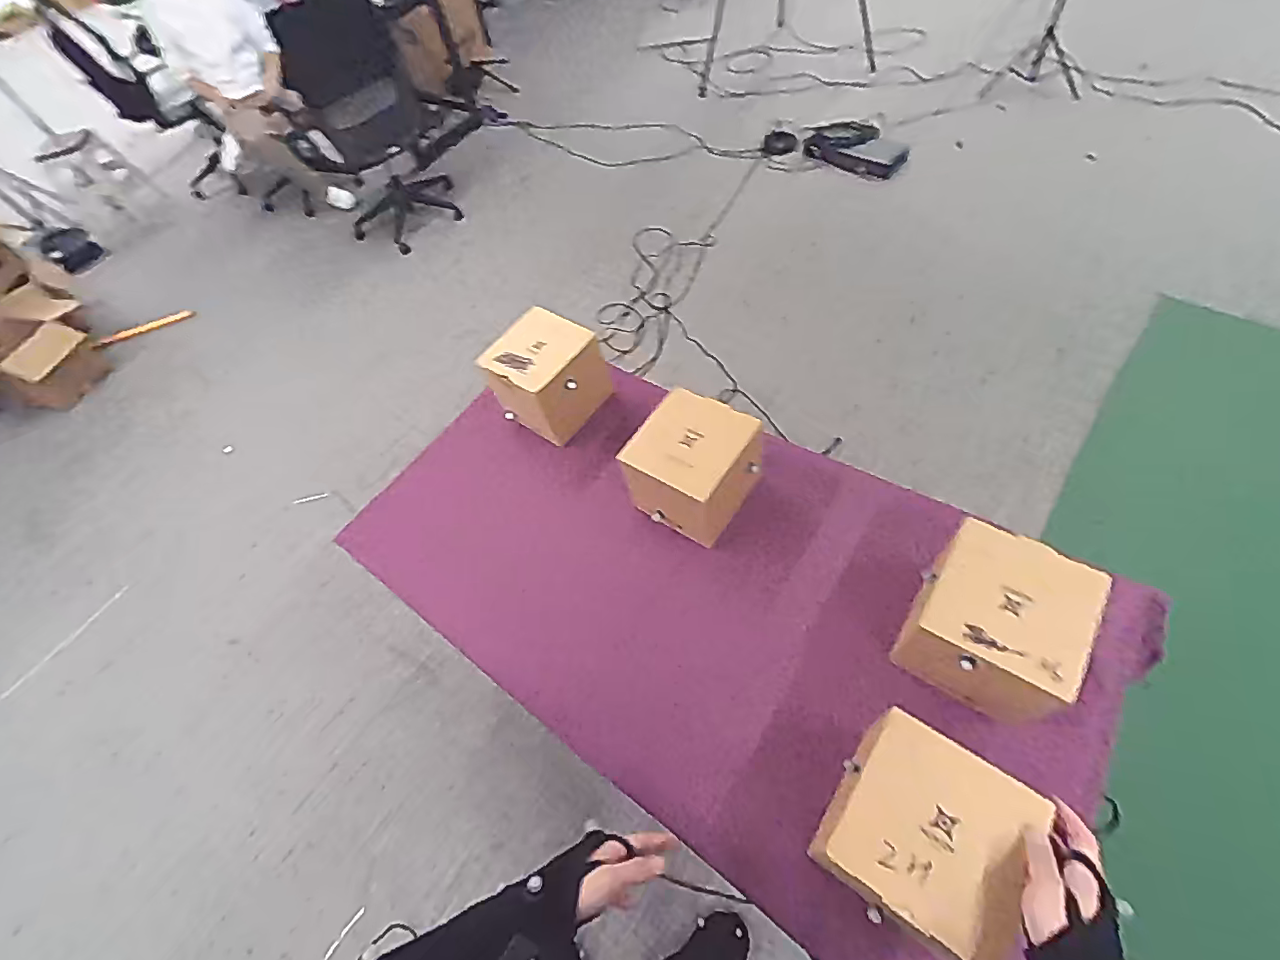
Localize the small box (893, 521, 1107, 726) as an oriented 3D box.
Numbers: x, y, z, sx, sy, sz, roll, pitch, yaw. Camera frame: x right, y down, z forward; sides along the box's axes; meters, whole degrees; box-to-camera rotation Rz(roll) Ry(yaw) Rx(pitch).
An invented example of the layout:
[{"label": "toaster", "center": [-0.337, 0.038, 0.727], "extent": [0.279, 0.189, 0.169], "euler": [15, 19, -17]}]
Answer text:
[{"label": "small box", "center": [0.461, 0.192, 0.717], "extent": [0.168, 0.176, 0.179], "euler": [27, 66, 26]}]

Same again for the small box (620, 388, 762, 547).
[{"label": "small box", "center": [0.091, -0.018, 0.923], "extent": [0.168, 0.176, 0.179], "euler": [29, 67, 26]}]

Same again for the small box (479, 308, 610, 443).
[{"label": "small box", "center": [-0.181, -0.204, 1.088], "extent": [0.168, 0.176, 0.179], "euler": [31, 68, 25]}]
